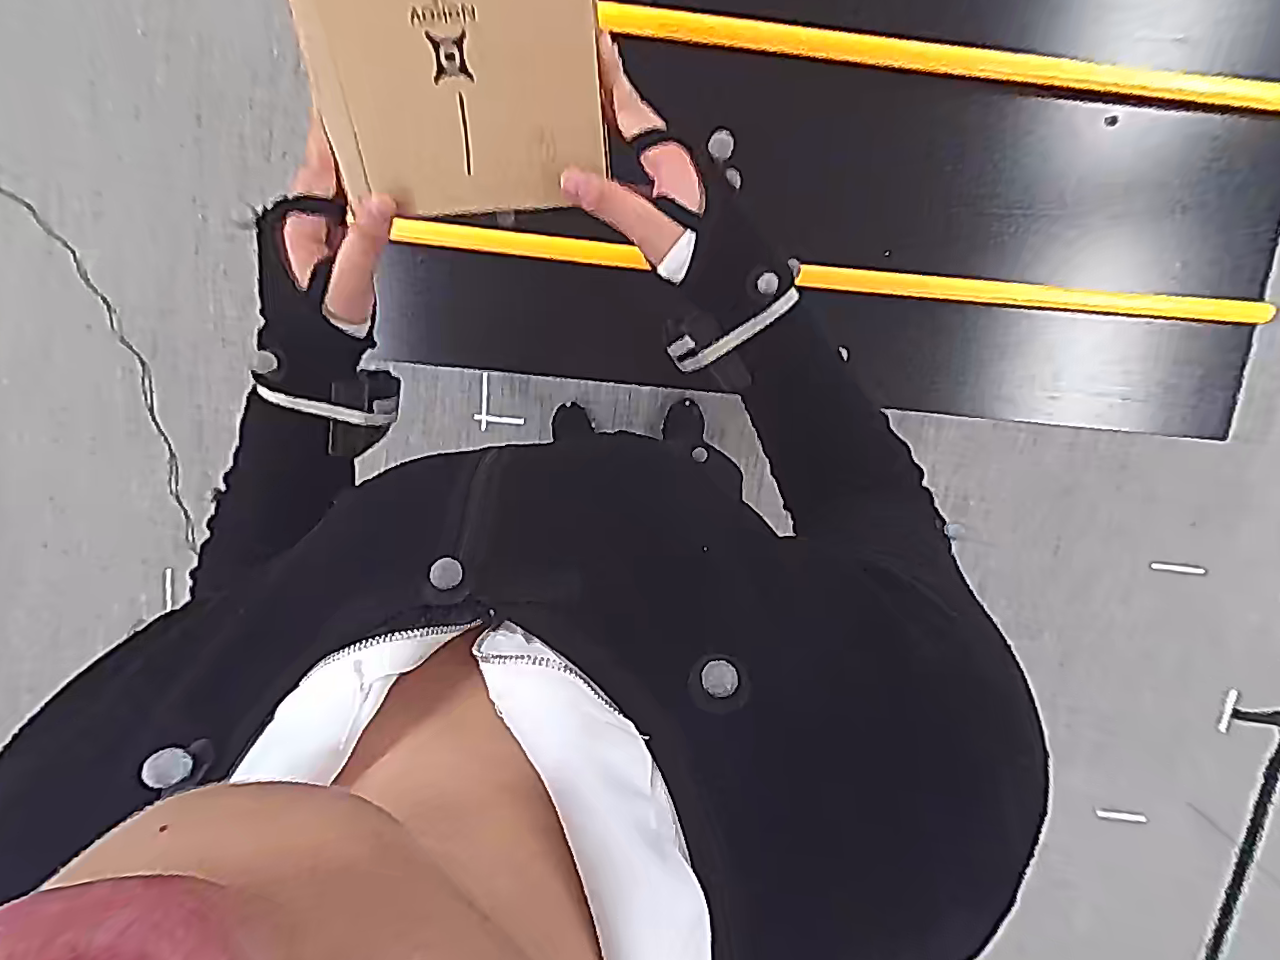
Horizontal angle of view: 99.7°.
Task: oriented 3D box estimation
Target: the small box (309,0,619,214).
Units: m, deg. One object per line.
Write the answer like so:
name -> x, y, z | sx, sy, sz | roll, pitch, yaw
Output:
small box -> -0.103, -0.289, 0.377 | 0.168, 0.176, 0.179 | -4, 120, 0
